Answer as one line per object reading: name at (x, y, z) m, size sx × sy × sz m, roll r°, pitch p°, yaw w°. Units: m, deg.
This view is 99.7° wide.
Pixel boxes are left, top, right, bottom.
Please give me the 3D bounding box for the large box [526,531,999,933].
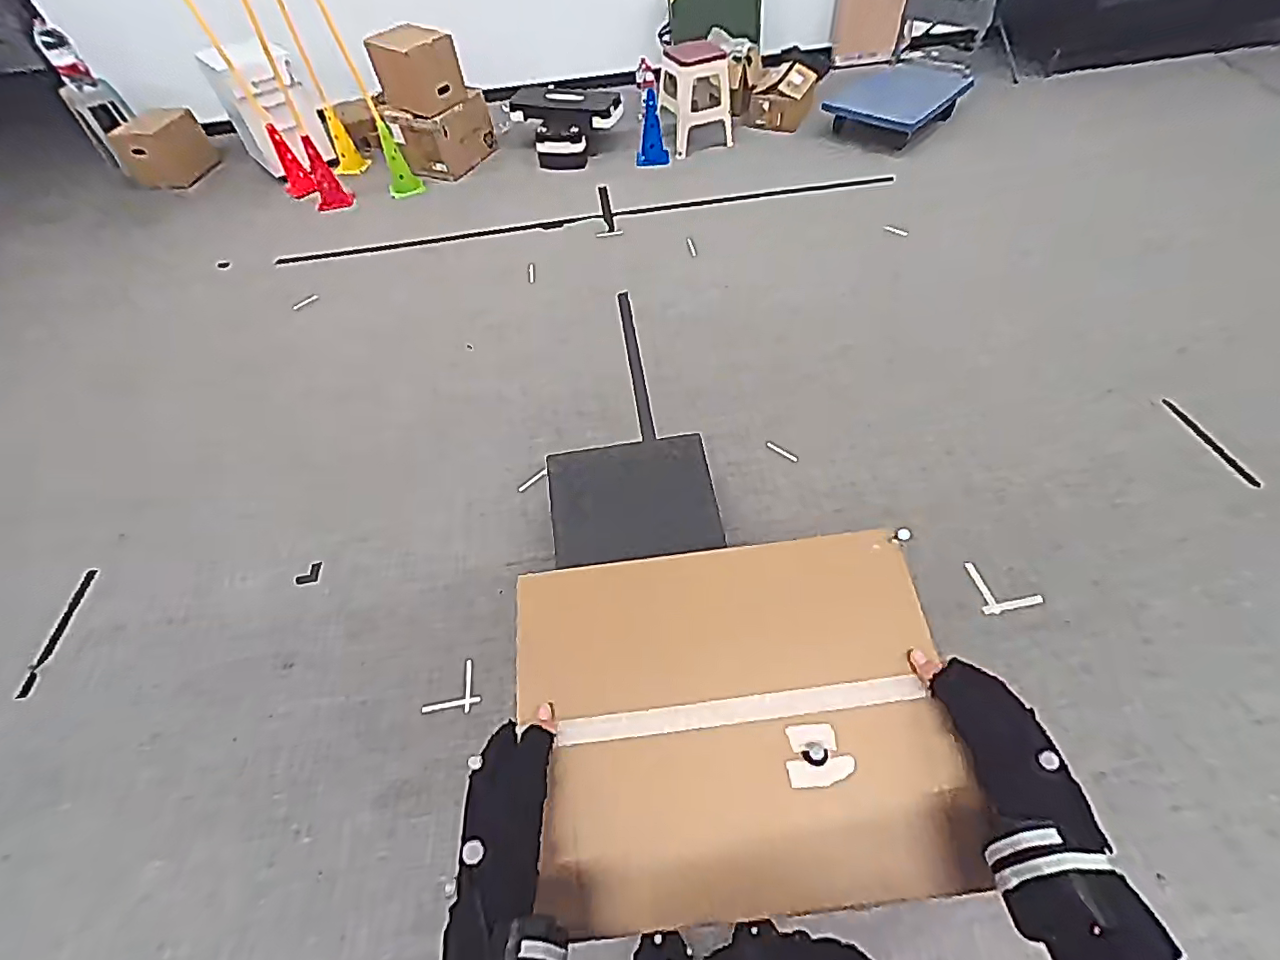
large box at (0.100, 0.287, 0.655) m, size 0.408 × 0.320 × 0.320 m, roll -8°, pitch 63°, yaw 1°
